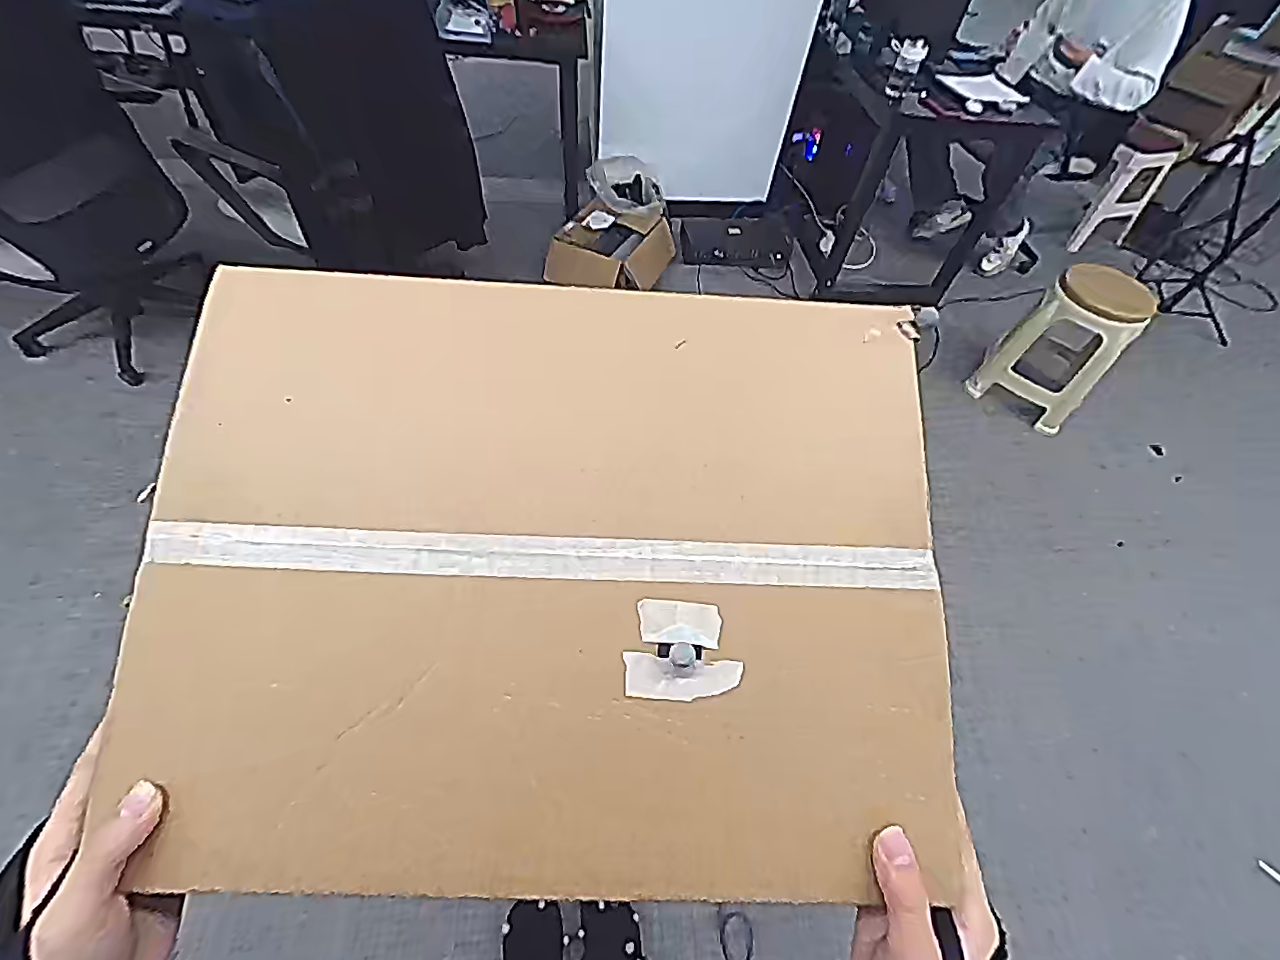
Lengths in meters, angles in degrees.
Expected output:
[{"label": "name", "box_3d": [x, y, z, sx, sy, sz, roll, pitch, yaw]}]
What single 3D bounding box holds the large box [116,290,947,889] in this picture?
[{"label": "large box", "box_3d": [-0.051, 0.077, 0.436, 0.408, 0.320, 0.320, 3, 77, -3]}]
